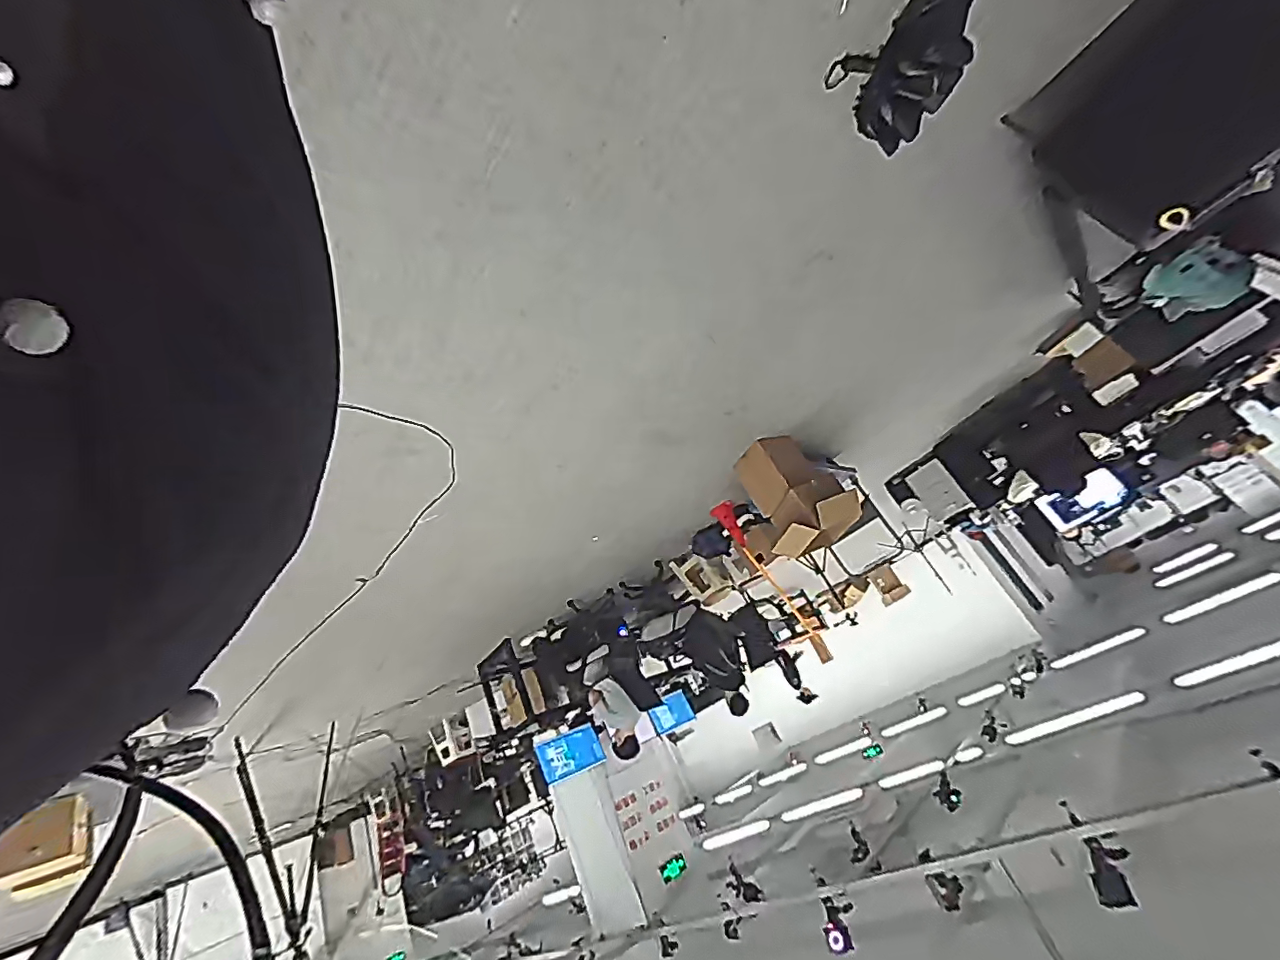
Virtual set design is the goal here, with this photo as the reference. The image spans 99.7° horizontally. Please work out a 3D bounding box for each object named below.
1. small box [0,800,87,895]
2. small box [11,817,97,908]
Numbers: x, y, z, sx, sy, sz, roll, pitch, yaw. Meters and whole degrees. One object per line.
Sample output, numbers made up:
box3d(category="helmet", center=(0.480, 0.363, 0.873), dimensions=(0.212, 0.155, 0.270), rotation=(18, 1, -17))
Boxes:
box3d(category="small box", center=(-1.734, 1.055, 1.561), dimensions=(0.179, 0.176, 0.168), rotation=(-4, 146, -38))
box3d(category="small box", center=(-1.874, 1.222, 1.734), dimensions=(0.179, 0.176, 0.168), rotation=(2, 141, -46))
